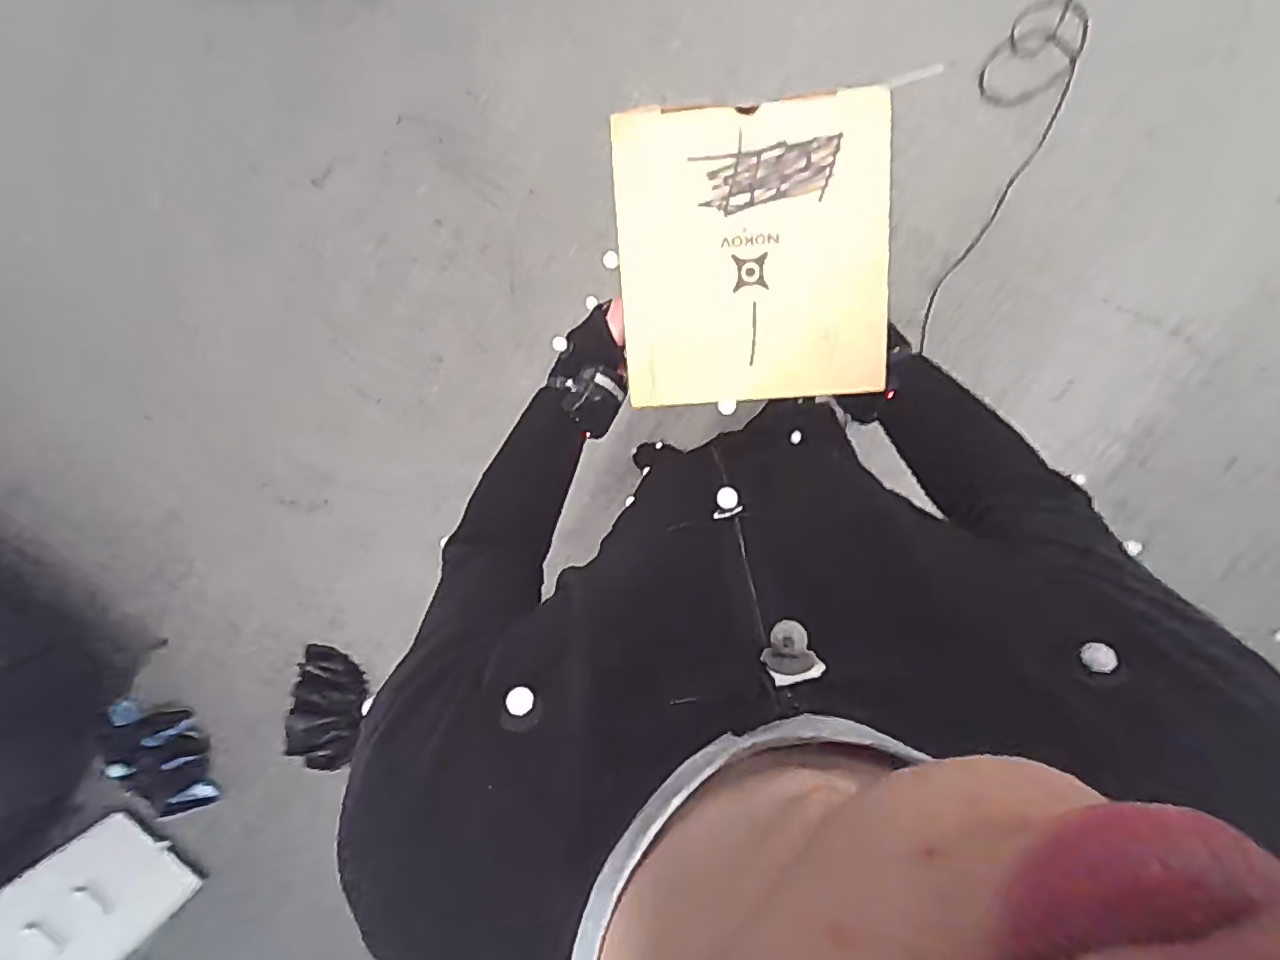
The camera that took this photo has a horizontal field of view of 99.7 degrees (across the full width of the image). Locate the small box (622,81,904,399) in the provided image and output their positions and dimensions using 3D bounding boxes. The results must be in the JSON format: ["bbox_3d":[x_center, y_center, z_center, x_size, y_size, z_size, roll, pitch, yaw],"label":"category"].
[{"bbox_3d":[0.076,-0.157,0.406,0.168,0.176,0.179,-2,104,4],"label":"small box"}]
